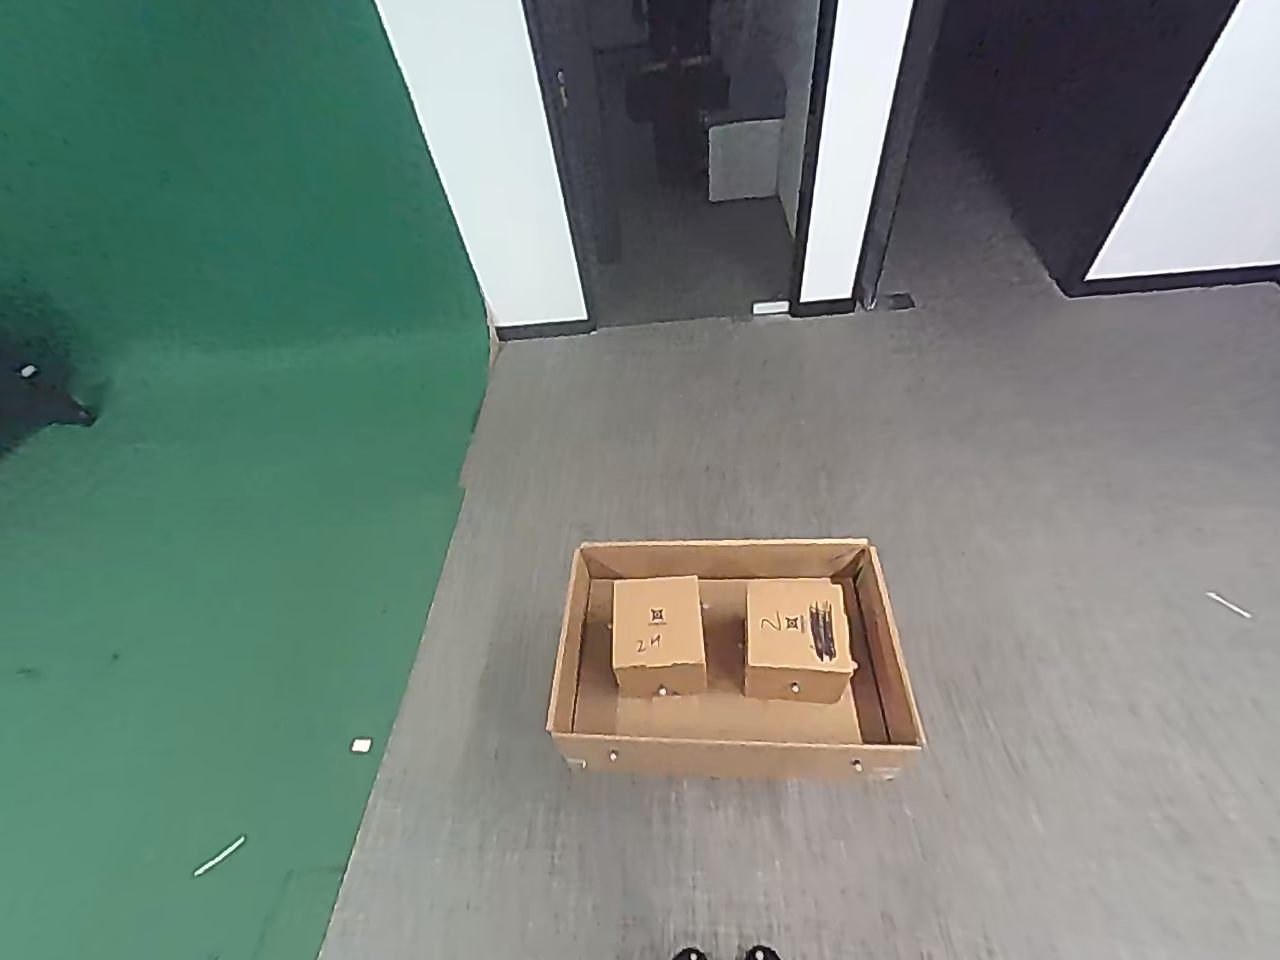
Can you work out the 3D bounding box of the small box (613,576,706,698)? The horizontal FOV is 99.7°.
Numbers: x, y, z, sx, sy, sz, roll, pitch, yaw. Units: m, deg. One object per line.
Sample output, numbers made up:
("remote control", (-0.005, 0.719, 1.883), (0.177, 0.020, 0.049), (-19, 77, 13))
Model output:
("small box", (0.041, 0.308, 1.057), (0.168, 0.176, 0.179), (-4, 50, 5))
